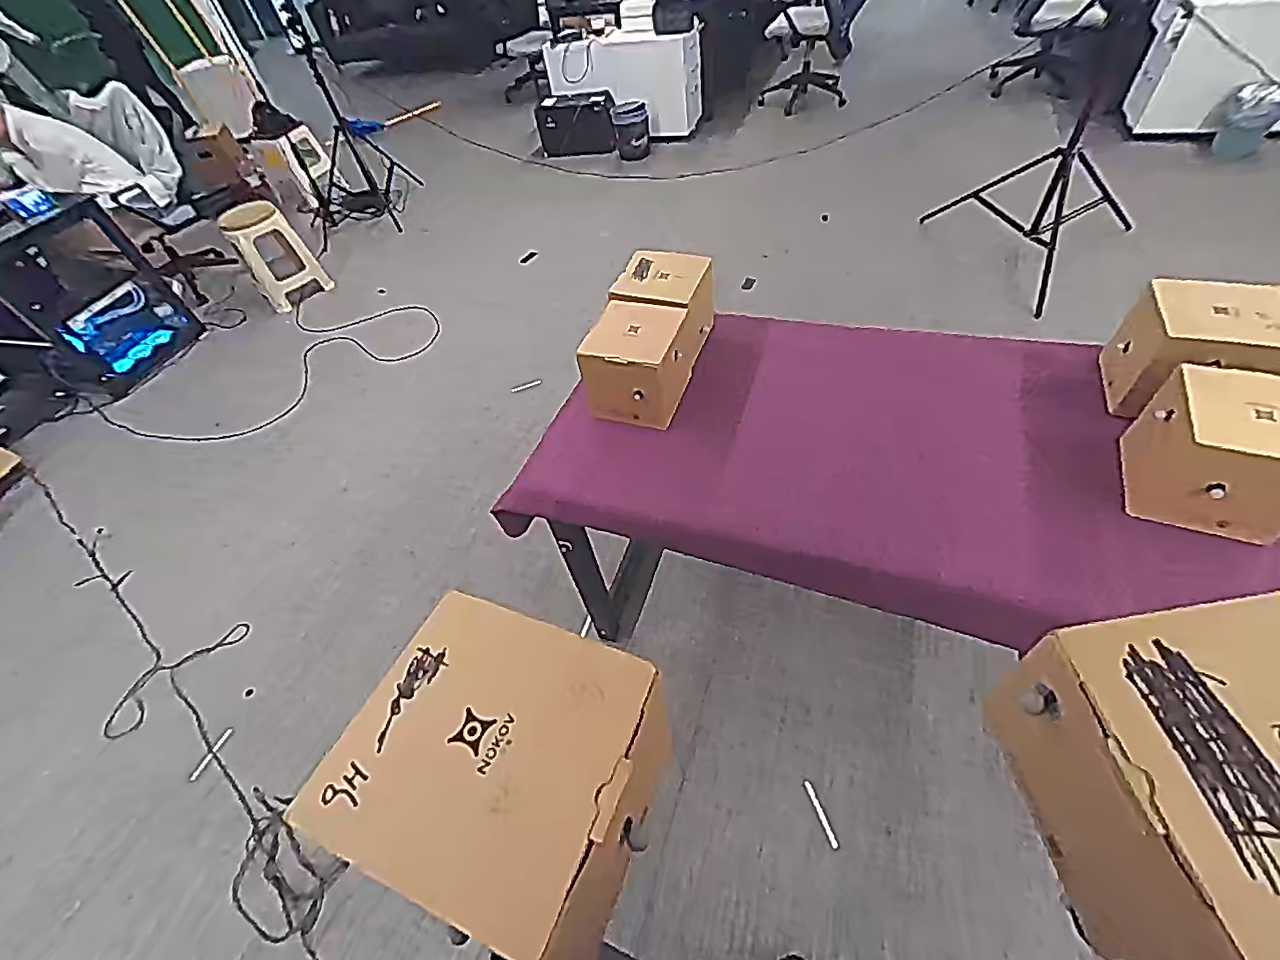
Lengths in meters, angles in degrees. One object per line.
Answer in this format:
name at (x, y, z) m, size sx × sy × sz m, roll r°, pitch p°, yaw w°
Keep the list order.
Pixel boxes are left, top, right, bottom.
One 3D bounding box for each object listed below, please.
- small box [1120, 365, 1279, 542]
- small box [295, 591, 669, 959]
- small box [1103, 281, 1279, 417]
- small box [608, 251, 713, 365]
small box at (0.842, -0.036, 0.785) m, size 0.168 × 0.176 × 0.179 m, roll 16°, pitch 54°, yaw 22°
small box at (-0.086, 0.214, 0.394) m, size 0.179 × 0.176 × 0.168 m, roll 15°, pitch 50°, yaw 18°
small box at (0.918, -0.208, 0.905) m, size 0.179 × 0.176 × 0.168 m, roll 13°, pitch 55°, yaw 18°
small box at (0.053, -0.372, 1.180) m, size 0.179 × 0.176 × 0.168 m, roll 14°, pitch 56°, yaw 18°
